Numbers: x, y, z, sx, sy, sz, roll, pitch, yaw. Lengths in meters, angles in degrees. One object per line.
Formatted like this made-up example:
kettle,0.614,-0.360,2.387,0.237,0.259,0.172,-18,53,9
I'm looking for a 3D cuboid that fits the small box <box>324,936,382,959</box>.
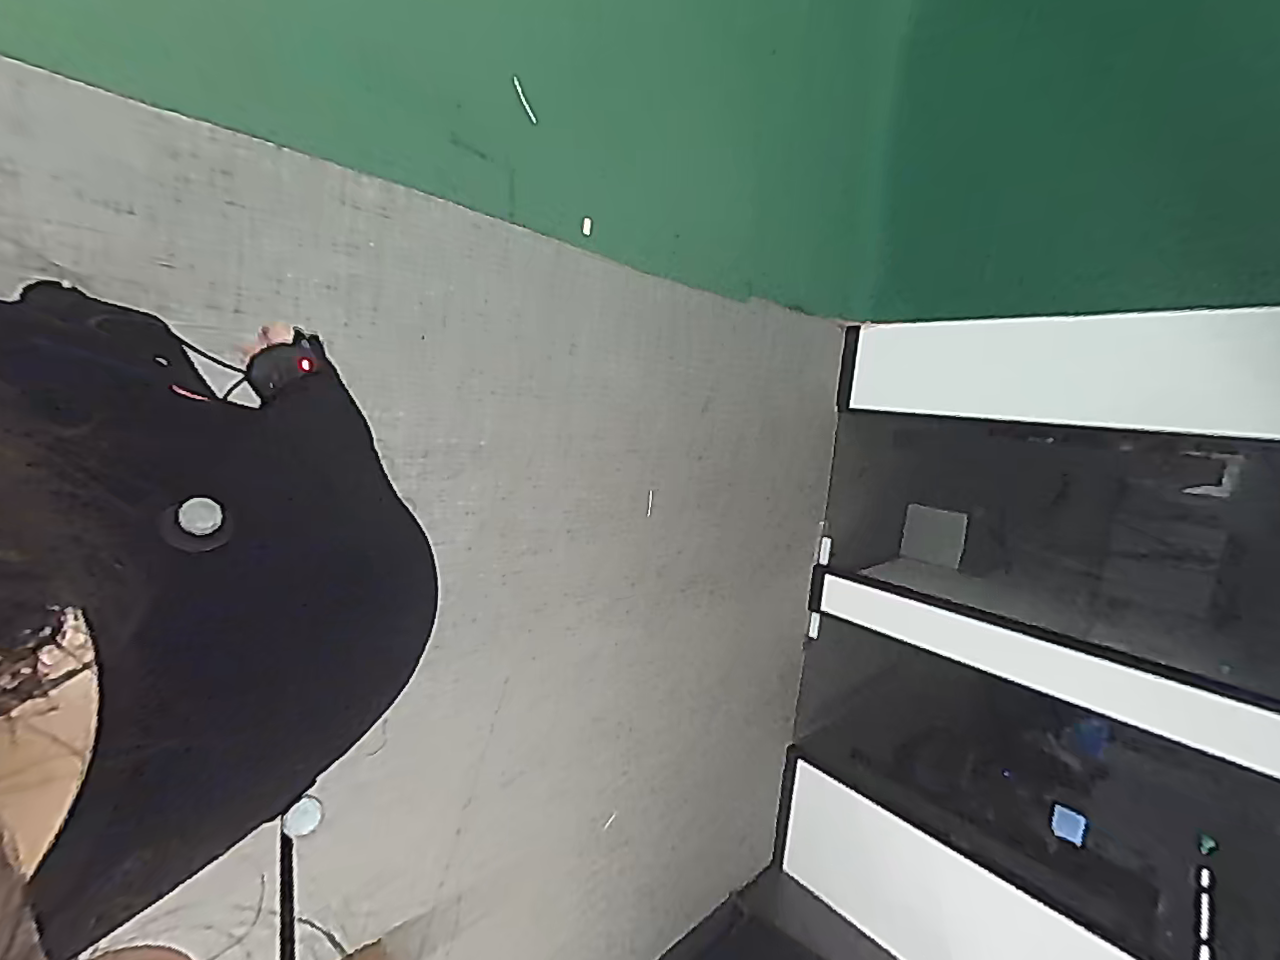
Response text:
small box,-0.868,1.524,1.599,0.179,0.176,0.168,-1,101,-45
